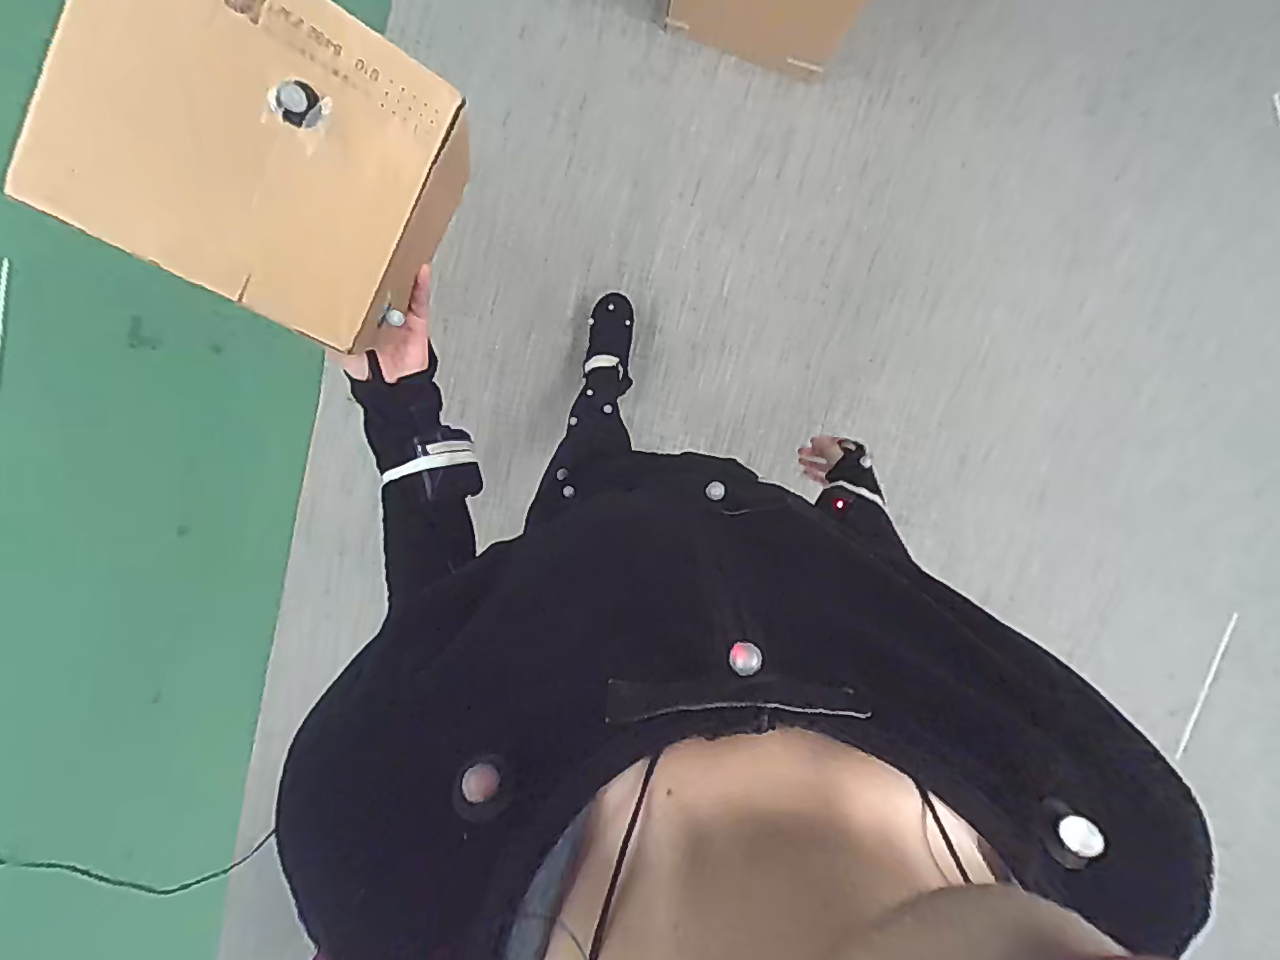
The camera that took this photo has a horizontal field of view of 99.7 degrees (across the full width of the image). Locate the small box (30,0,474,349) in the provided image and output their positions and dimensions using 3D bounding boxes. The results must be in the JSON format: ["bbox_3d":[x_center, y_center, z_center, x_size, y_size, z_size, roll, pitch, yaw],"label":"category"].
[{"bbox_3d":[-0.225,-0.209,0.370,0.168,0.179,0.176,26,97,-21],"label":"small box"}]
